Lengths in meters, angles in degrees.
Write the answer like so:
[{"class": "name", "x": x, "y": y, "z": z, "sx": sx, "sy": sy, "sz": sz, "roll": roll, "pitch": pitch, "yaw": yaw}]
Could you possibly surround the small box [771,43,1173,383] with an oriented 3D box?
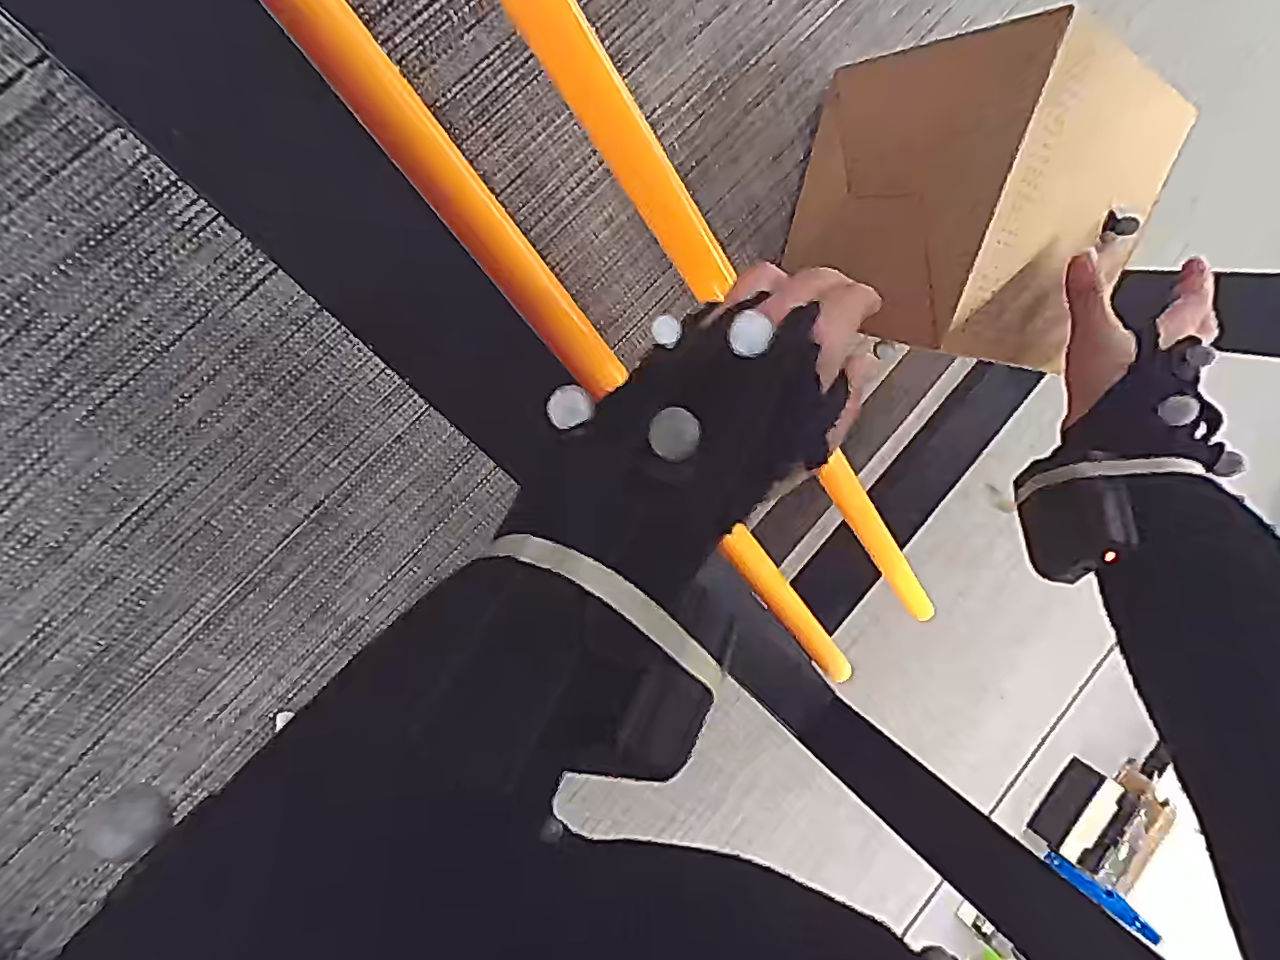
[{"class": "small box", "x": 0.229, "y": -0.181, "z": 0.406, "sx": 0.176, "sy": 0.168, "sz": 0.179, "roll": 1, "pitch": 112, "yaw": -29}]
